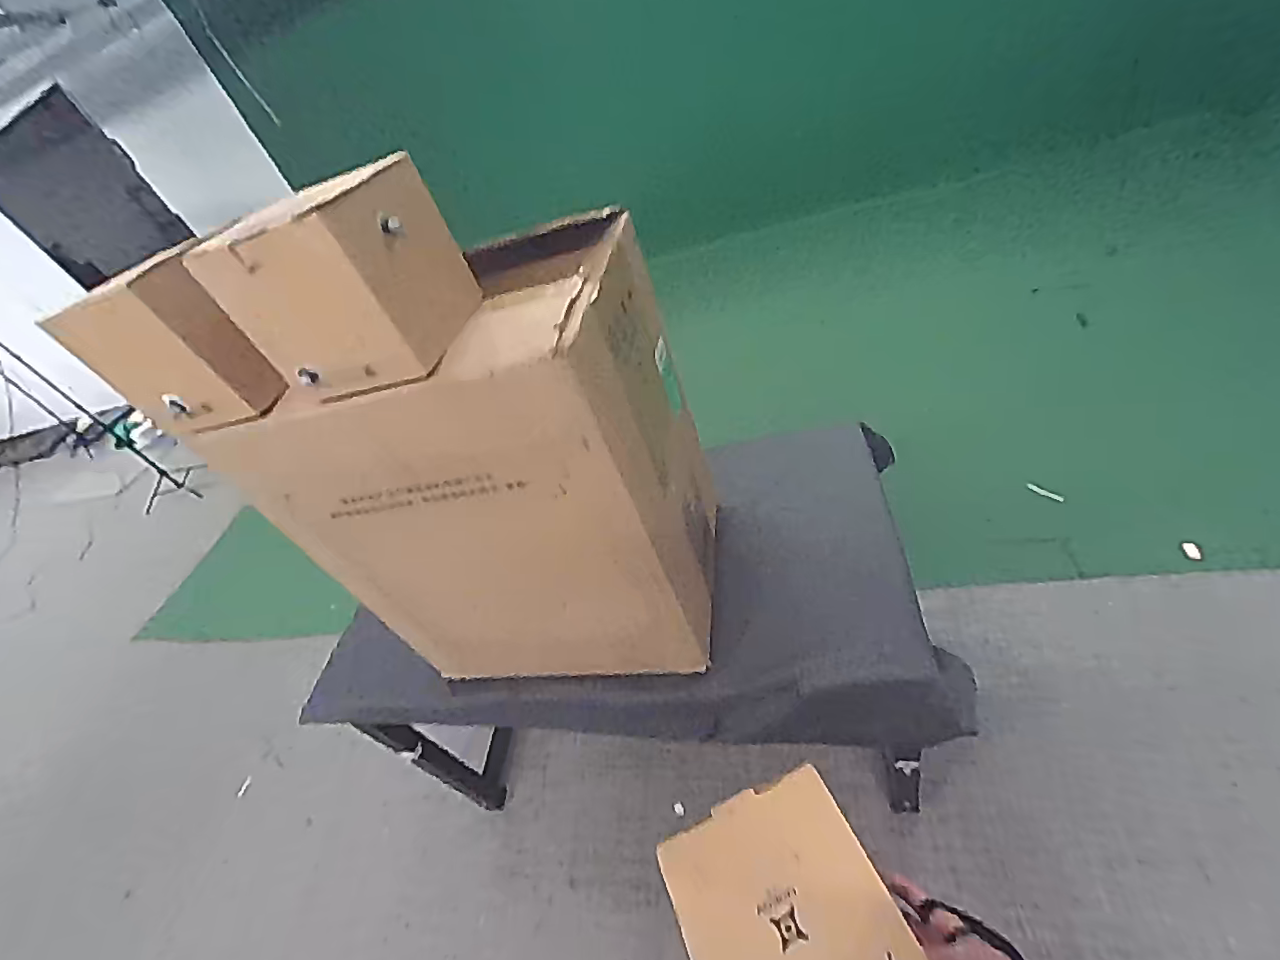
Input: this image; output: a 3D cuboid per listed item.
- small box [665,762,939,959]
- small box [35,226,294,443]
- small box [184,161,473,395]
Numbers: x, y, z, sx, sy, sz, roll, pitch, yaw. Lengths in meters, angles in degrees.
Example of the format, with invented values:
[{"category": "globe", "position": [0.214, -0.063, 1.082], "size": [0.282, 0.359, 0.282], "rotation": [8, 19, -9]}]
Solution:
[{"category": "small box", "position": [0.144, 0.400, 0.485], "size": [0.168, 0.176, 0.179], "rotation": [-27, 41, -4]}, {"category": "small box", "position": [-0.525, -0.170, 0.652], "size": [0.168, 0.176, 0.179], "rotation": [-10, 43, 20]}, {"category": "small box", "position": [-0.308, -0.206, 0.581], "size": [0.168, 0.176, 0.179], "rotation": [-8, 41, 17]}]
